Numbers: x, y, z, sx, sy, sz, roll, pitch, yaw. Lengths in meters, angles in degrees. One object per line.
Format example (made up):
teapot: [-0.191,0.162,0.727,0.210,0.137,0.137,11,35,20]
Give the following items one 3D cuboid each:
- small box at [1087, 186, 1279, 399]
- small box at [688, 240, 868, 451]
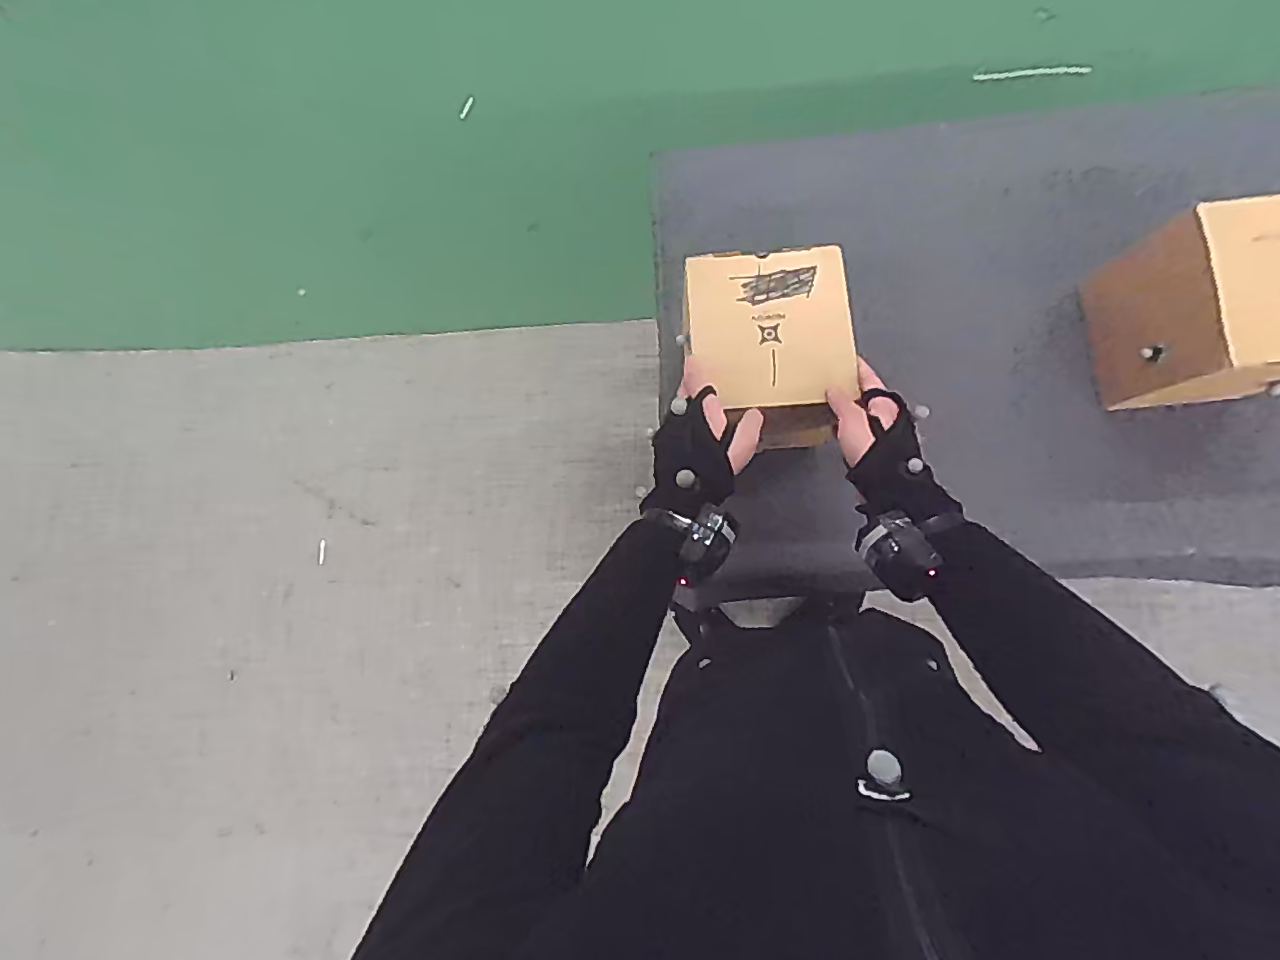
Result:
small box: [0.654,-0.196,0.602,0.168,0.176,0.179,-5,81,2]
small box: [0.142,-0.143,0.622,0.168,0.176,0.179,-4,77,4]
